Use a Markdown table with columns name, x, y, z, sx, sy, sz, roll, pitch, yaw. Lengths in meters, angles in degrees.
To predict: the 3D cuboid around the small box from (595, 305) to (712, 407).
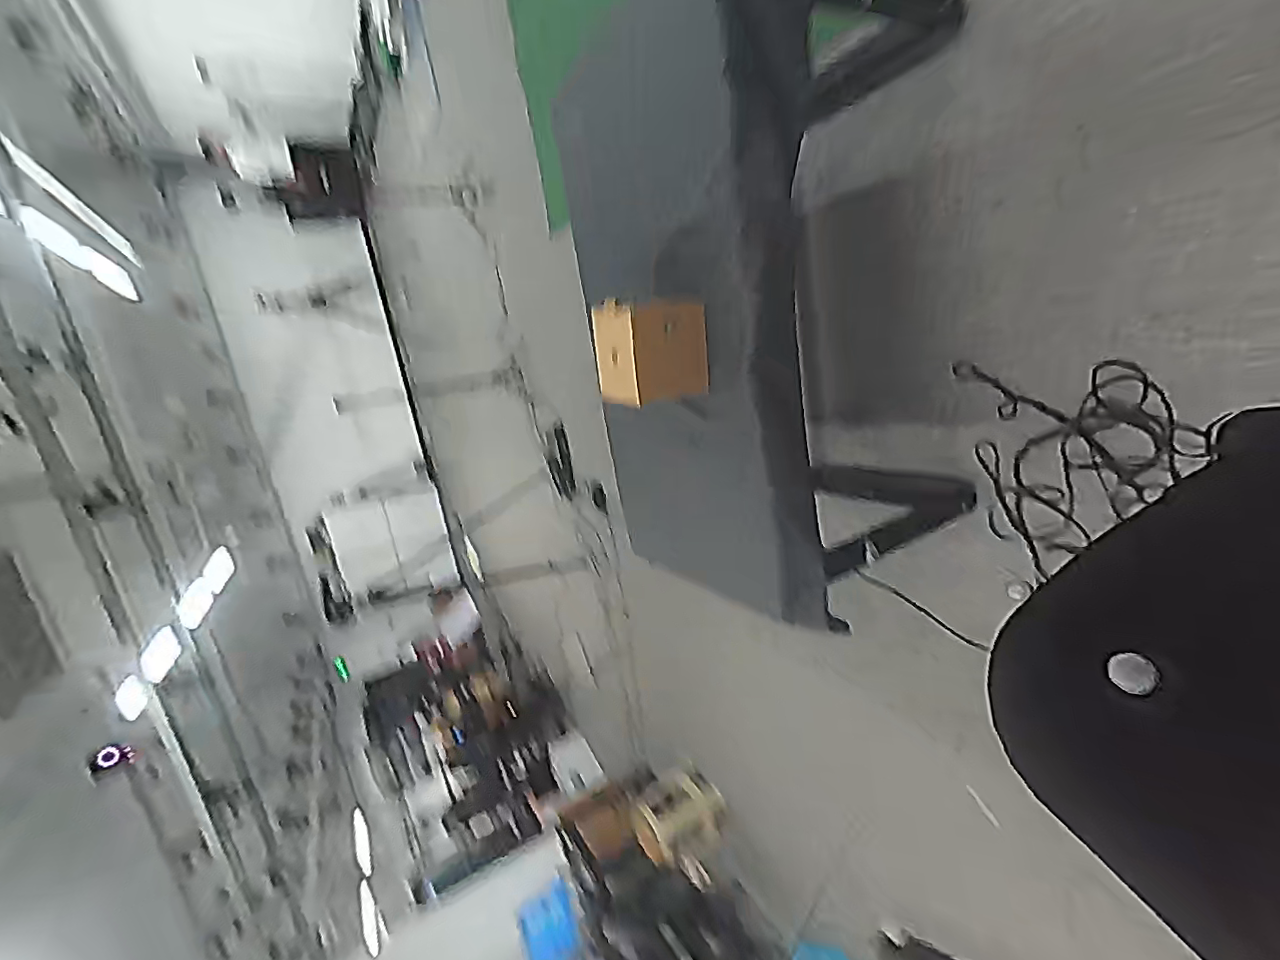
| name | x | y | z | sx | sy | sz | roll | pitch | yaw |
| --- | --- | --- | --- | --- | --- | --- | --- | --- | --- |
| small box | 0.029 | -0.258 | 1.094 | 0.168 | 0.176 | 0.179 | 25 | 127 | 57 |
